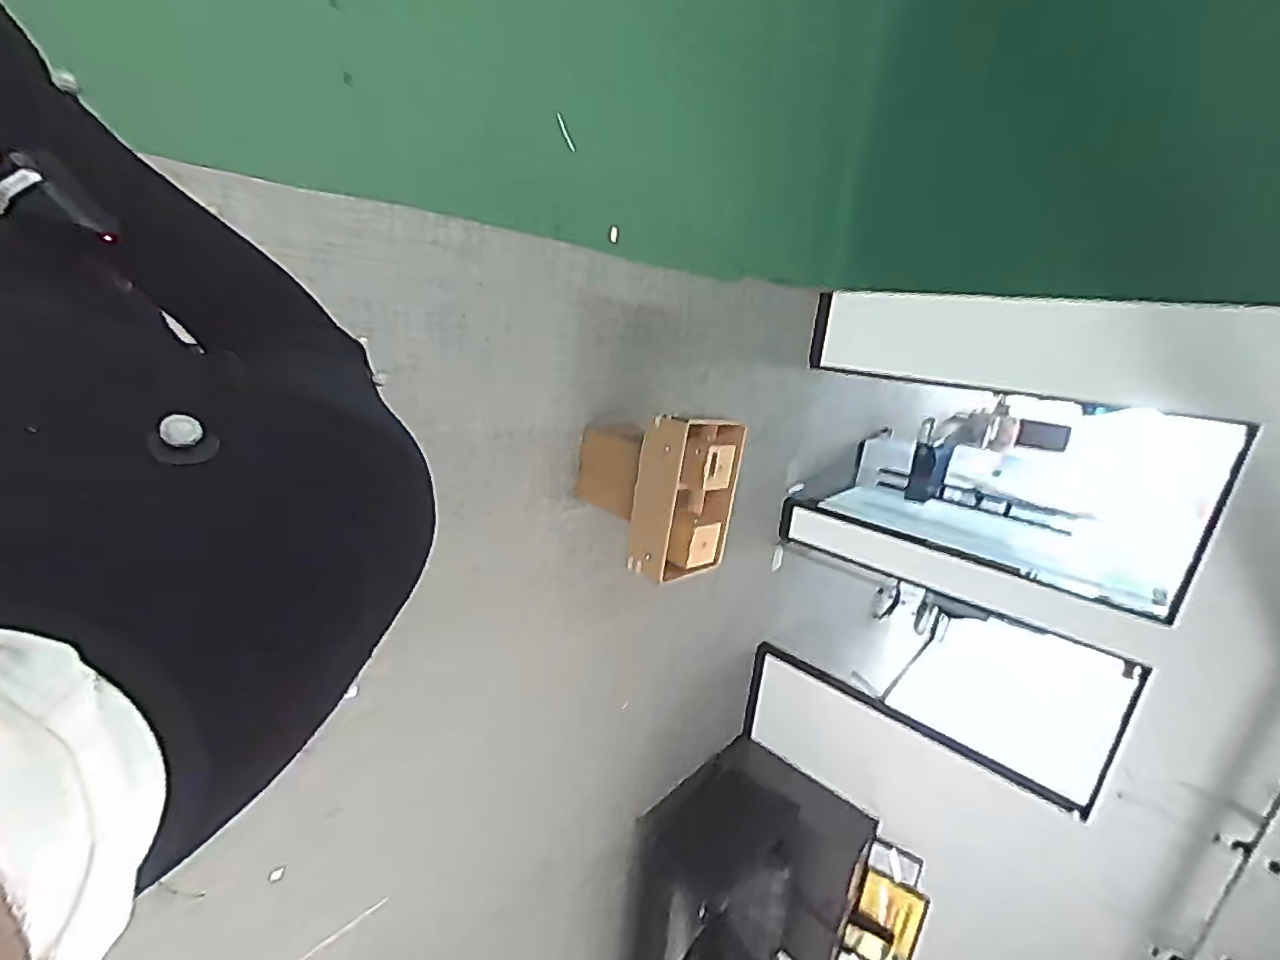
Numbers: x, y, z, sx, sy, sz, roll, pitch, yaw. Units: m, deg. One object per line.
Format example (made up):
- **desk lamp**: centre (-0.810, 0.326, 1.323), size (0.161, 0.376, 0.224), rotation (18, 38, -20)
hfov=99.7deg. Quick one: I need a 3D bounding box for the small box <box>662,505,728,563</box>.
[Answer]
- **small box**: centre (0.214, 0.203, 2.106), size (0.179, 0.176, 0.168), rotation (-5, 110, -46)
